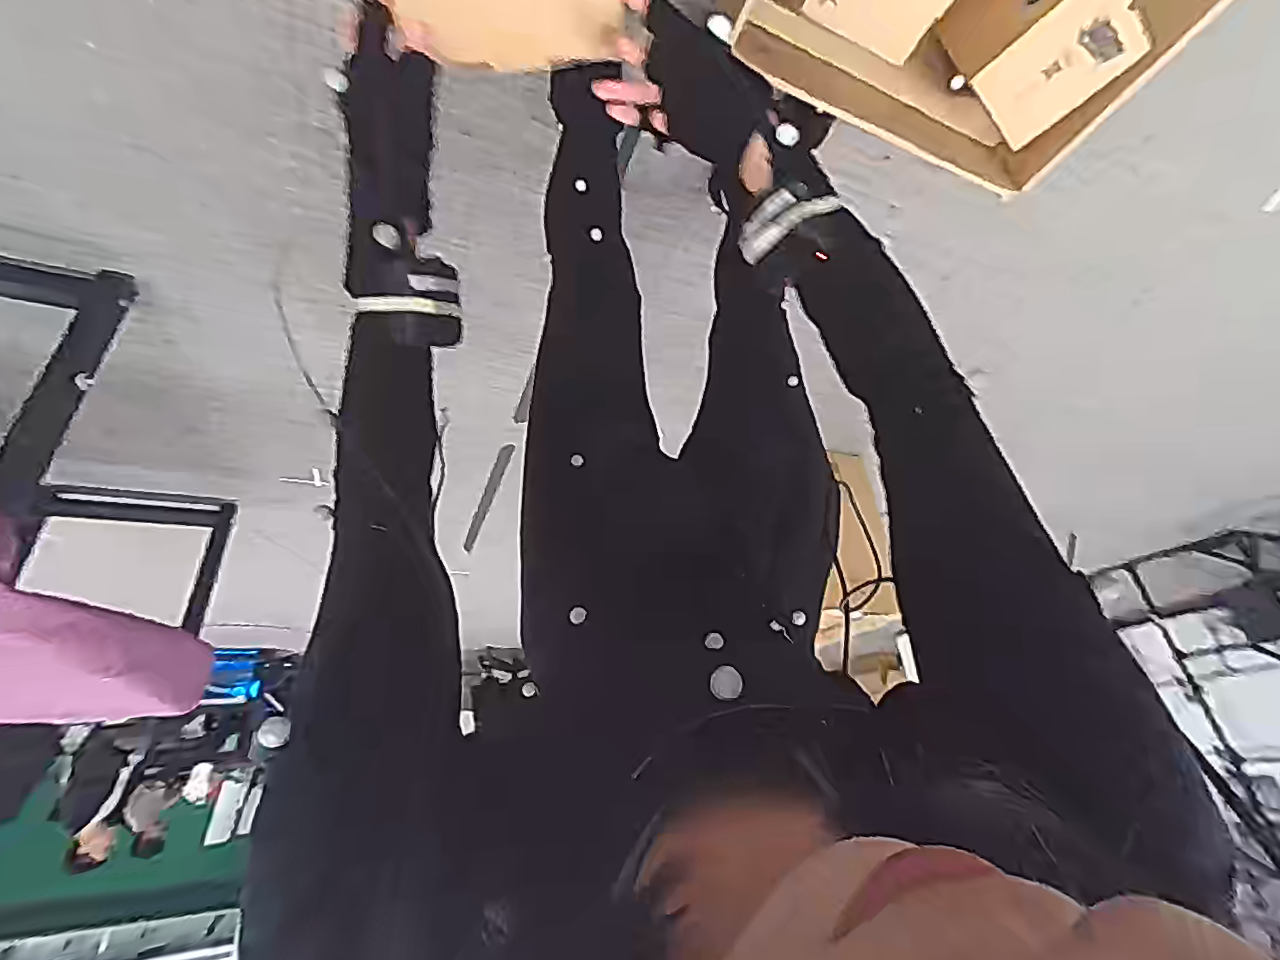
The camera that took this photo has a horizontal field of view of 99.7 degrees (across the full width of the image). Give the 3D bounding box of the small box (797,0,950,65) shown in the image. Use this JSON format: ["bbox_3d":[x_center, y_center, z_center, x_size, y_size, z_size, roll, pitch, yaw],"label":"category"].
[{"bbox_3d":[0.299,-0.675,0.671,0.179,0.176,0.168,6,148,-24],"label":"small box"}]

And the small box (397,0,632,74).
[{"bbox_3d":[-0.108,-0.428,0.396,0.168,0.176,0.179,-15,140,-14],"label":"small box"}]

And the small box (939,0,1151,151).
[{"bbox_3d":[0.574,-0.640,0.781,0.168,0.176,0.179,20,143,-35],"label":"small box"}]
